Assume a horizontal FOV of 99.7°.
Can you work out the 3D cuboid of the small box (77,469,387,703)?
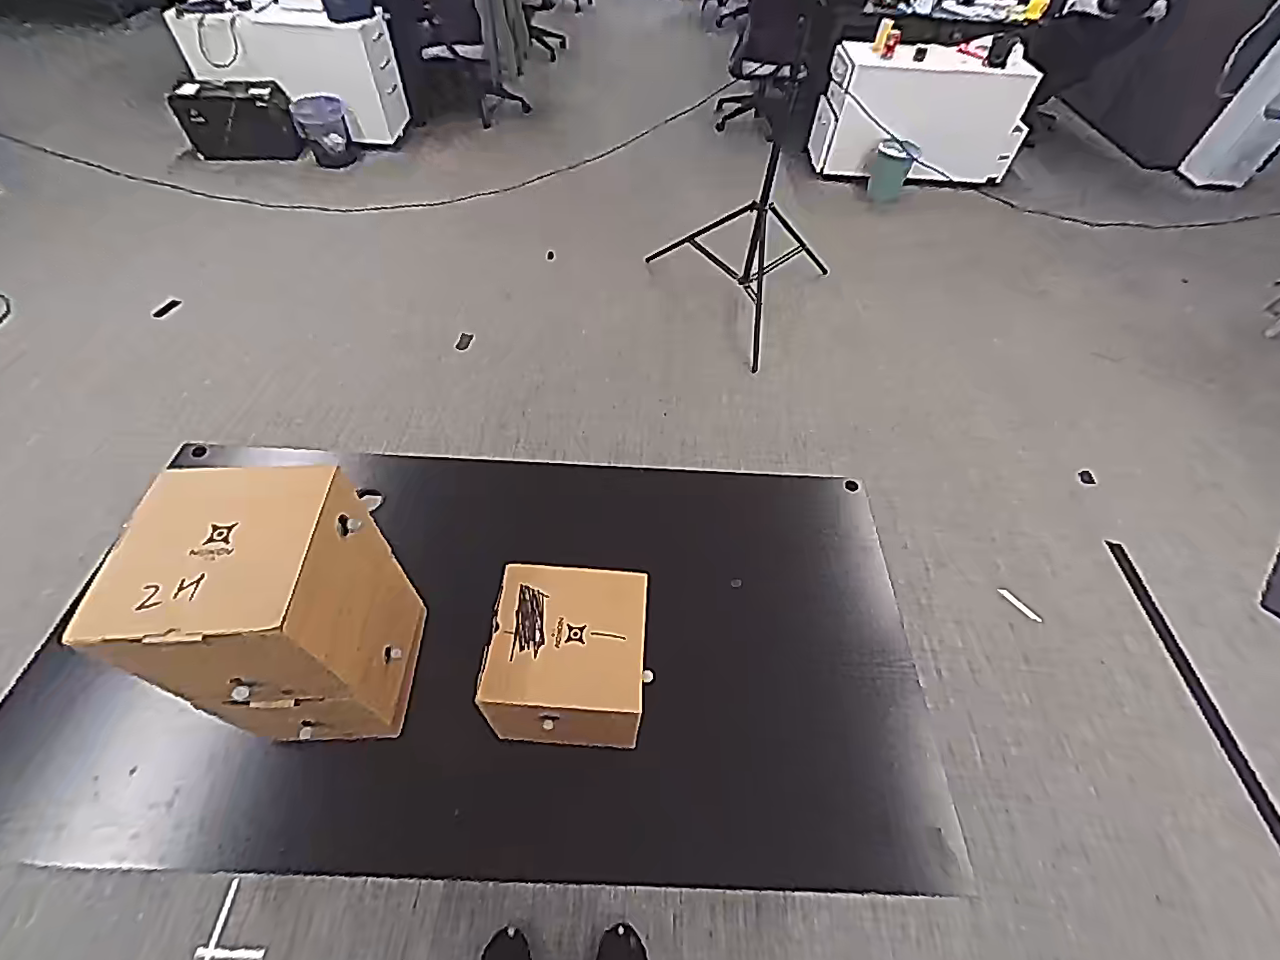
[{"bbox_3d":[-0.377,0.108,0.549,0.168,0.176,0.179,-2,52,-4],"label":"small box"}]

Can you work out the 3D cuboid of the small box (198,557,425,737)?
[{"bbox_3d":[-0.385,0.214,0.677,0.168,0.176,0.179,-1,52,-3],"label":"small box"}]

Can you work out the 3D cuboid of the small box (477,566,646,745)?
[{"bbox_3d":[-0.086,0.225,0.683,0.179,0.176,0.168,4,52,-1],"label":"small box"}]
